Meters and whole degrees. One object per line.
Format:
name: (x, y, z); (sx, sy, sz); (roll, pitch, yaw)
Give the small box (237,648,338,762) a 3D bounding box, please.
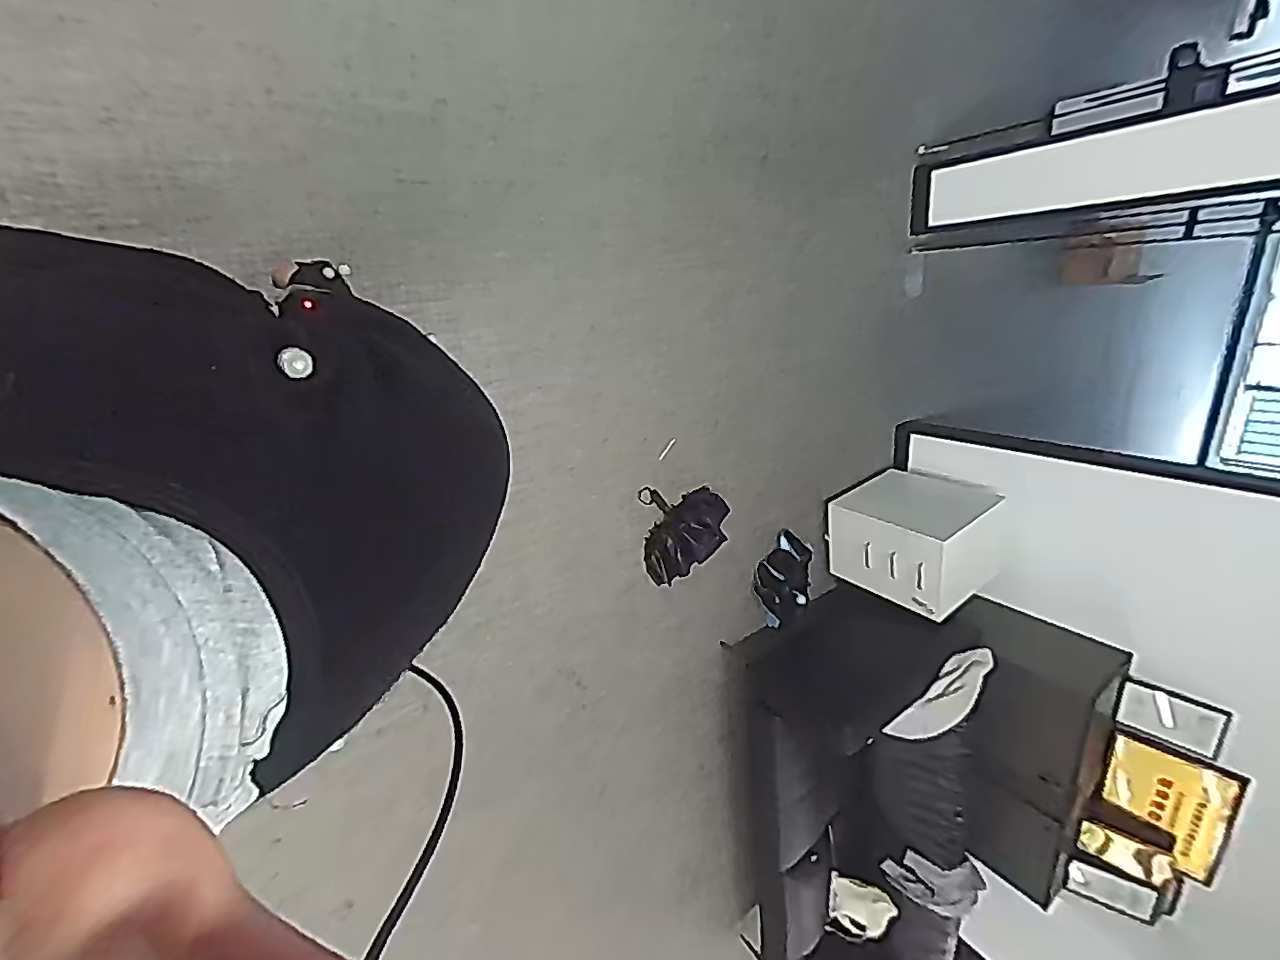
small box: (-0.910, 0.574, 1.401); (0.168, 0.176, 0.179); (-26, 117, -28)
